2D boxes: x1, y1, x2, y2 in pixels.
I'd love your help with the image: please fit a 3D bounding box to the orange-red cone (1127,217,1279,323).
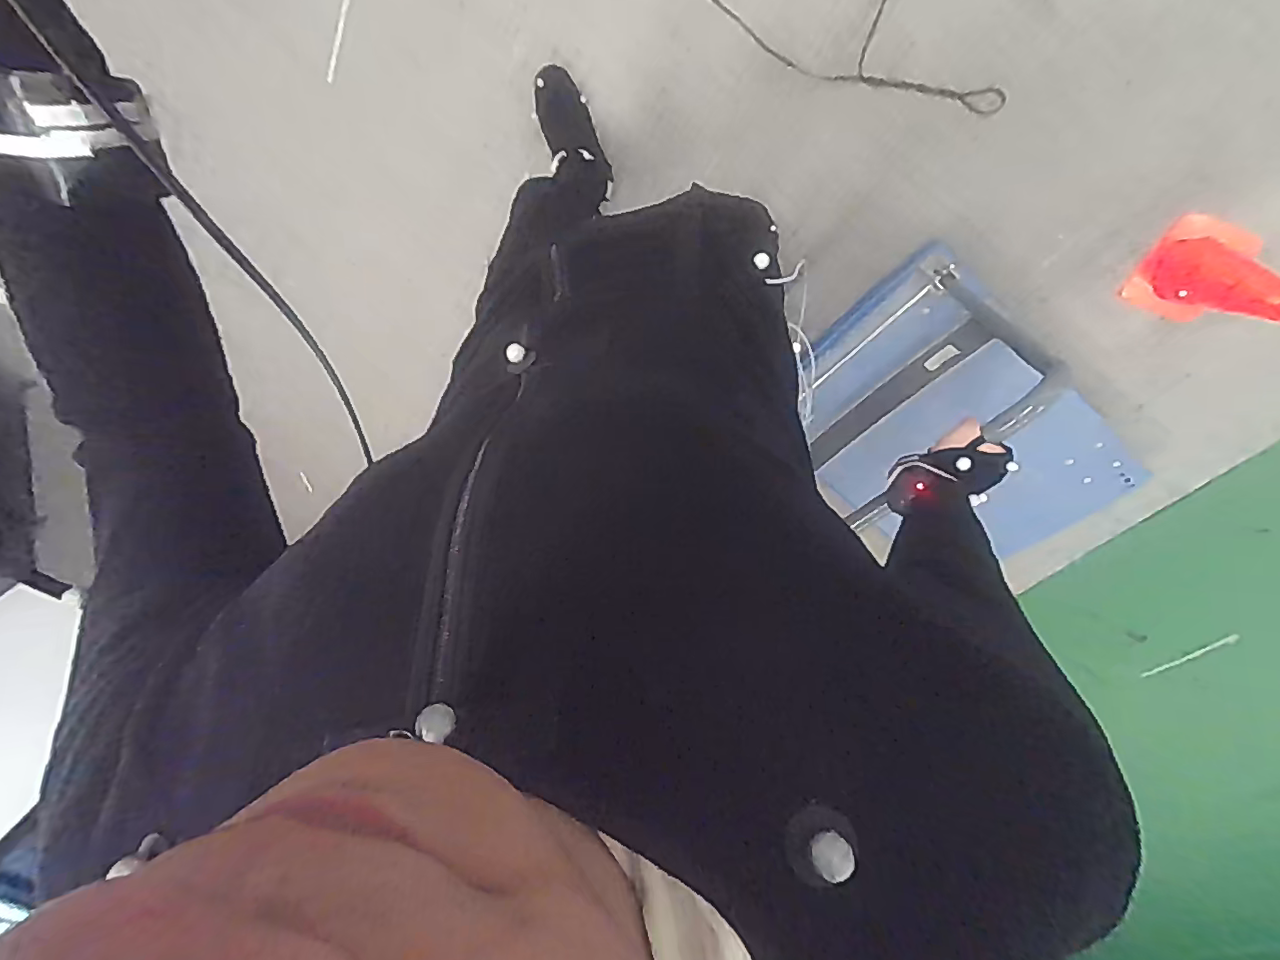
[{"bbox_3d":[1.249,-0.384,1.104,0.198,0.360,0.199,20,124,-5],"label":"orange-red cone"}]
